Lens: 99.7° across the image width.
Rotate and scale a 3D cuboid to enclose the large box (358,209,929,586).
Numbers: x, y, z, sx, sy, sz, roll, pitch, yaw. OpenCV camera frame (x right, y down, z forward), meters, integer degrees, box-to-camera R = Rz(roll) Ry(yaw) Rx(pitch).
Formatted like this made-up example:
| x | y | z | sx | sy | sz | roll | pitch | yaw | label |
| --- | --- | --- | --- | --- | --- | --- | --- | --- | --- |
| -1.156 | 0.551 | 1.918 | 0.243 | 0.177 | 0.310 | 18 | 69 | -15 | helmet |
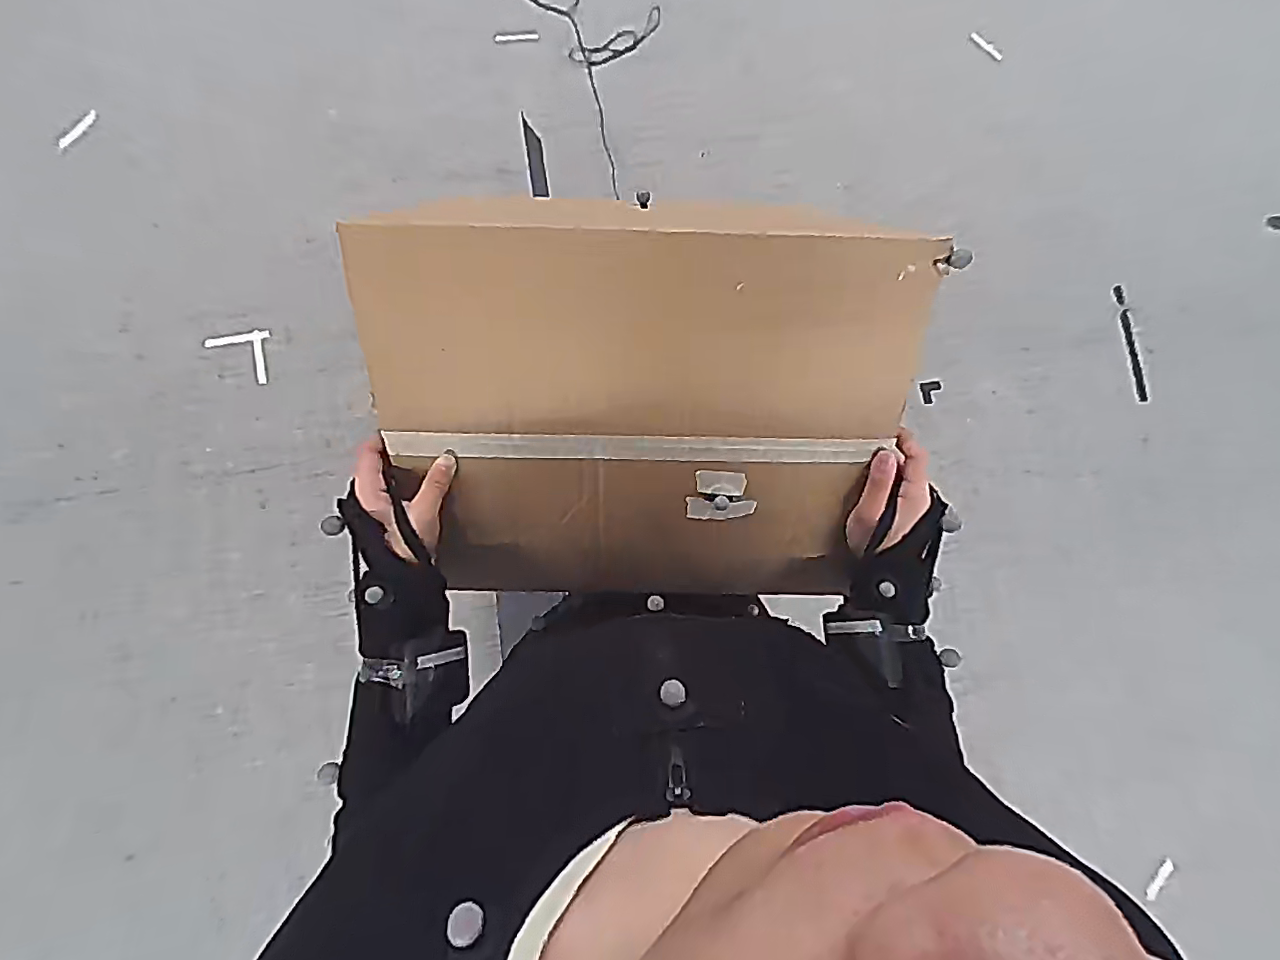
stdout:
| x | y | z | sx | sy | sz | roll | pitch | yaw | label |
| --- | --- | --- | --- | --- | --- | --- | --- | --- | --- |
| -0.003 | -0.108 | 0.573 | 0.408 | 0.320 | 0.320 | 0 | 121 | -2 | large box |
